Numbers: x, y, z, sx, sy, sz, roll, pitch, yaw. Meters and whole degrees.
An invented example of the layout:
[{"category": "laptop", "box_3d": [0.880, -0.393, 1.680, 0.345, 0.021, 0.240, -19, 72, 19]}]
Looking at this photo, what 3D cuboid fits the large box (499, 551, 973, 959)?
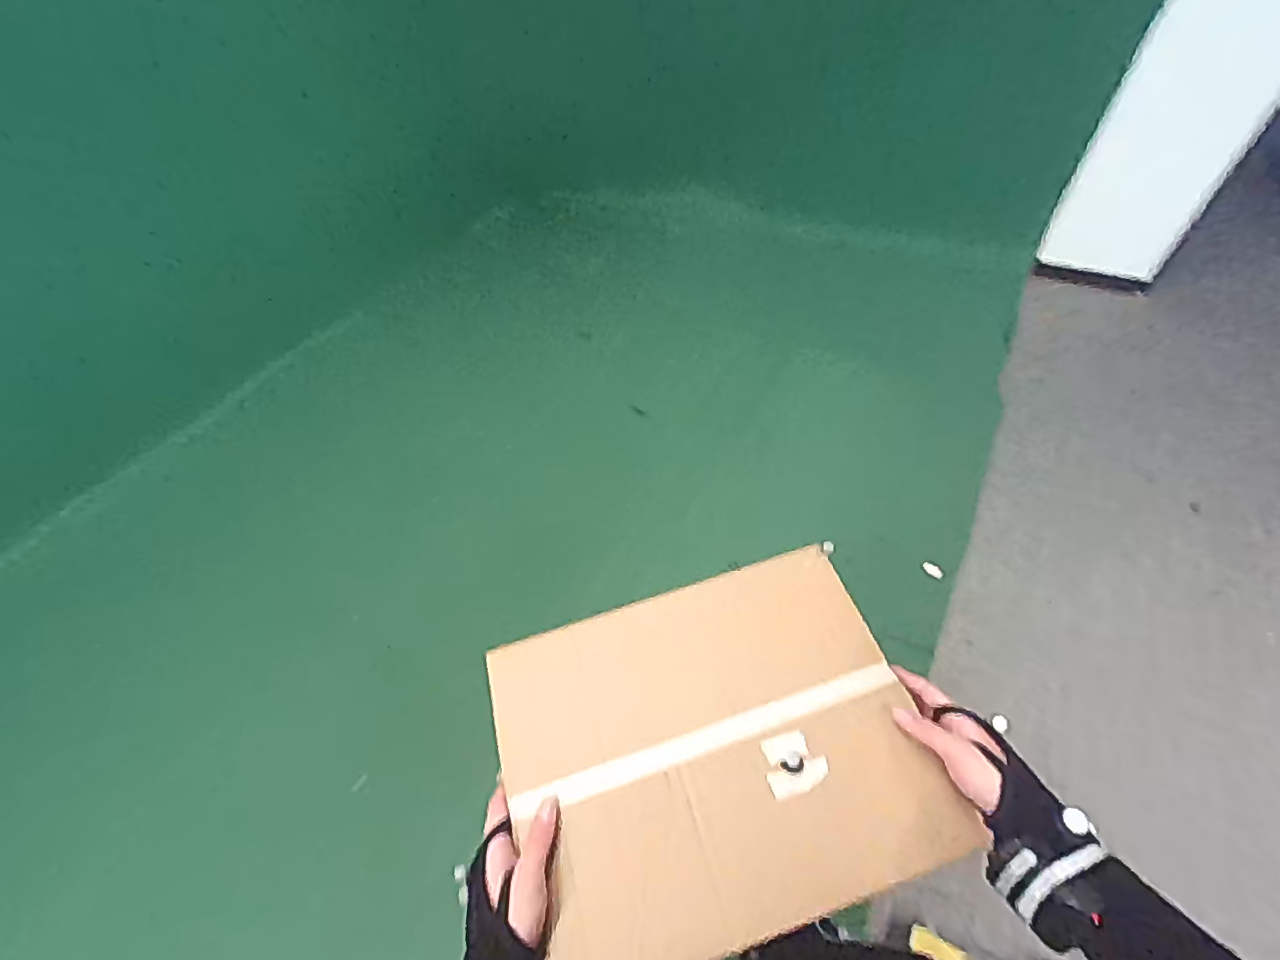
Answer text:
[{"category": "large box", "box_3d": [0.081, 0.344, 0.670, 0.408, 0.320, 0.320, -16, 57, -6]}]
